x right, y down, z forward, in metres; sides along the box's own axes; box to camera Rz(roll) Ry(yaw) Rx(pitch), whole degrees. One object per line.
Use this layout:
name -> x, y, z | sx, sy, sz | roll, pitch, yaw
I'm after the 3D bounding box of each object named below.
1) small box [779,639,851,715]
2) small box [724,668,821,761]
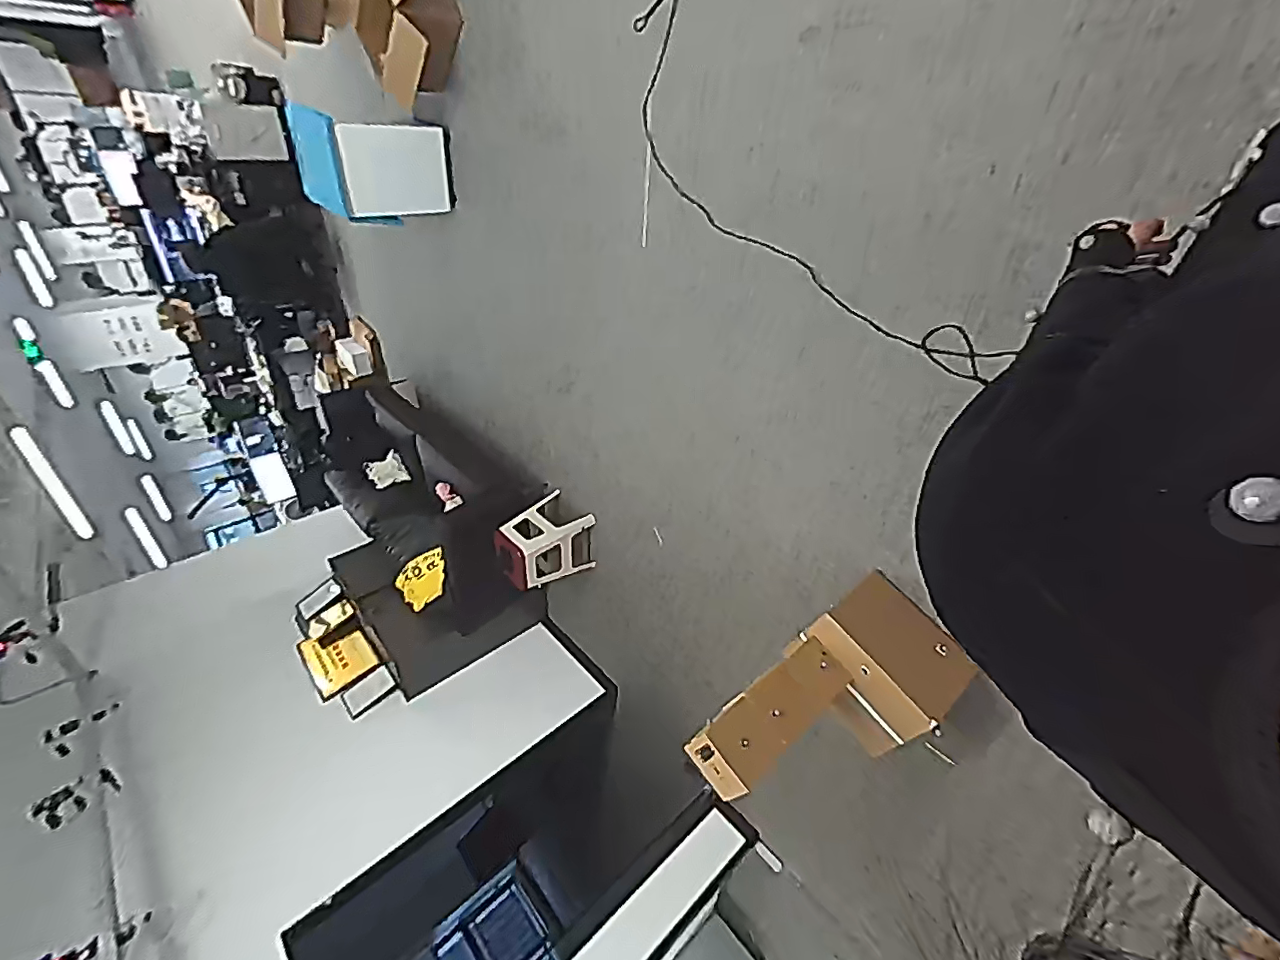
small box -> 0.513, 0.626, 1.668 | 0.168, 0.176, 0.179 | 48, 142, 22
small box -> 0.386, 0.677, 1.579 | 0.179, 0.176, 0.168 | 49, 143, 21
